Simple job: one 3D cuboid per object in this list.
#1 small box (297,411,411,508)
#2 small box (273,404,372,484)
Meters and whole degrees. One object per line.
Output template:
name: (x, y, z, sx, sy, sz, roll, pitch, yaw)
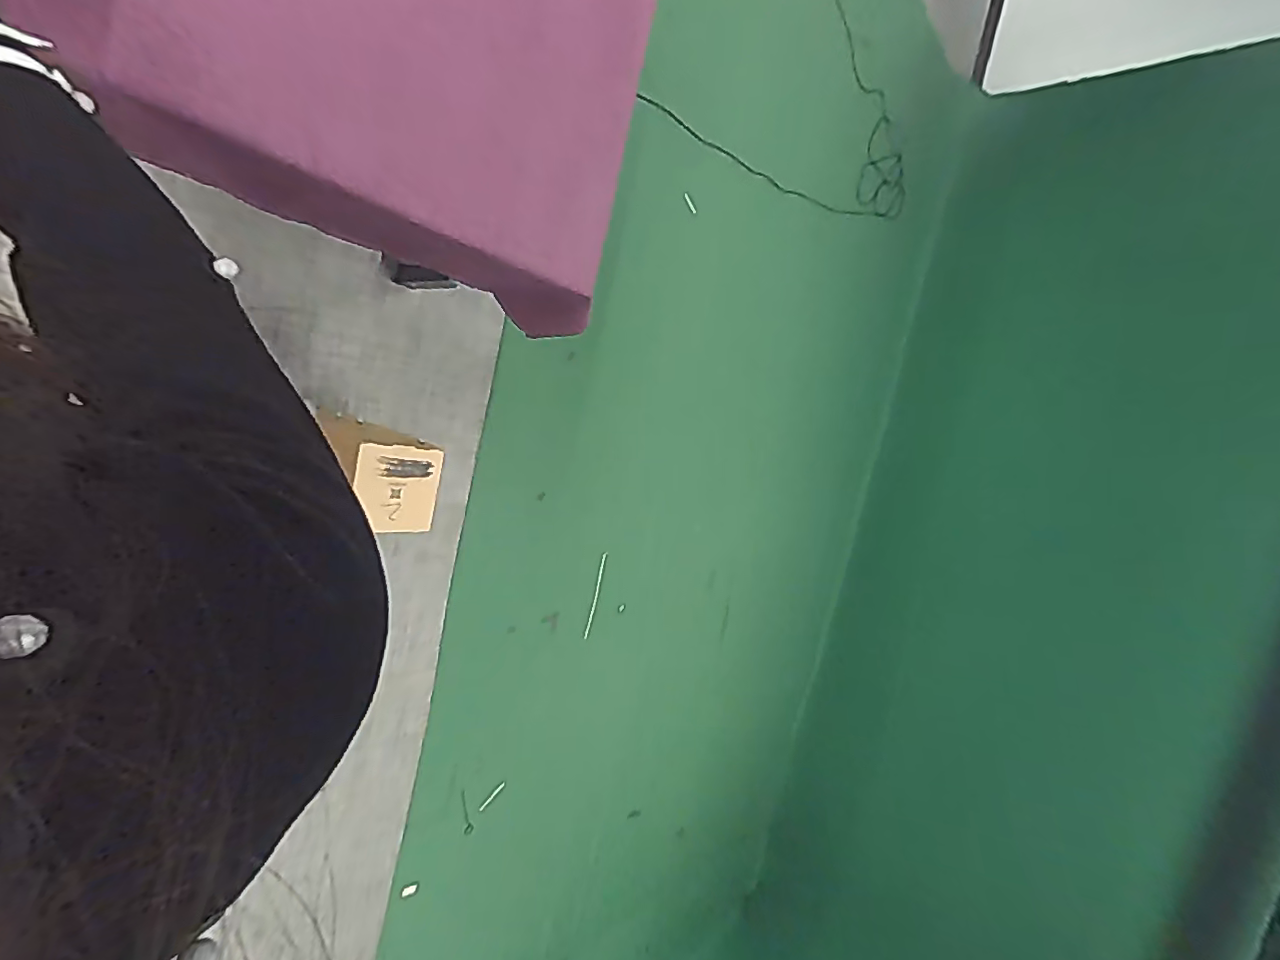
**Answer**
small box: (-0.643, -0.046, 1.208, 0.168, 0.176, 0.179, 7, 98, -50)
small box: (-0.765, -0.085, 1.310, 0.179, 0.176, 0.168, 4, 101, -48)
